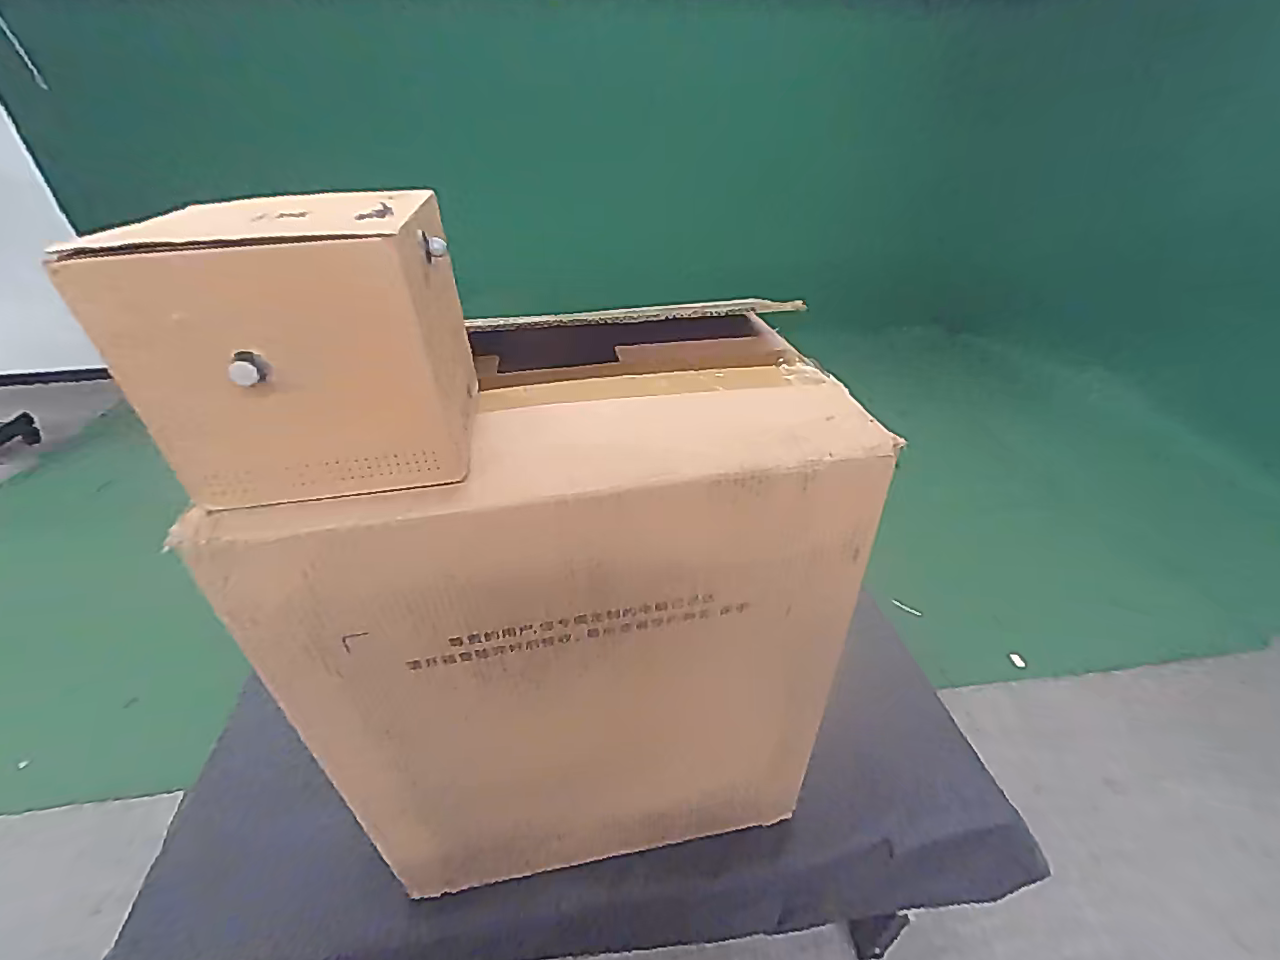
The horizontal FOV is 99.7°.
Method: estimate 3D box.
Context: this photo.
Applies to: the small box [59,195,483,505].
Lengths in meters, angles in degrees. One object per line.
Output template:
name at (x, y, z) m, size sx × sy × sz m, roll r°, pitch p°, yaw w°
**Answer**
small box at (-0.229, -0.099, 0.401) m, size 0.179 × 0.176 × 0.168 m, roll -9°, pitch 37°, yaw -6°
